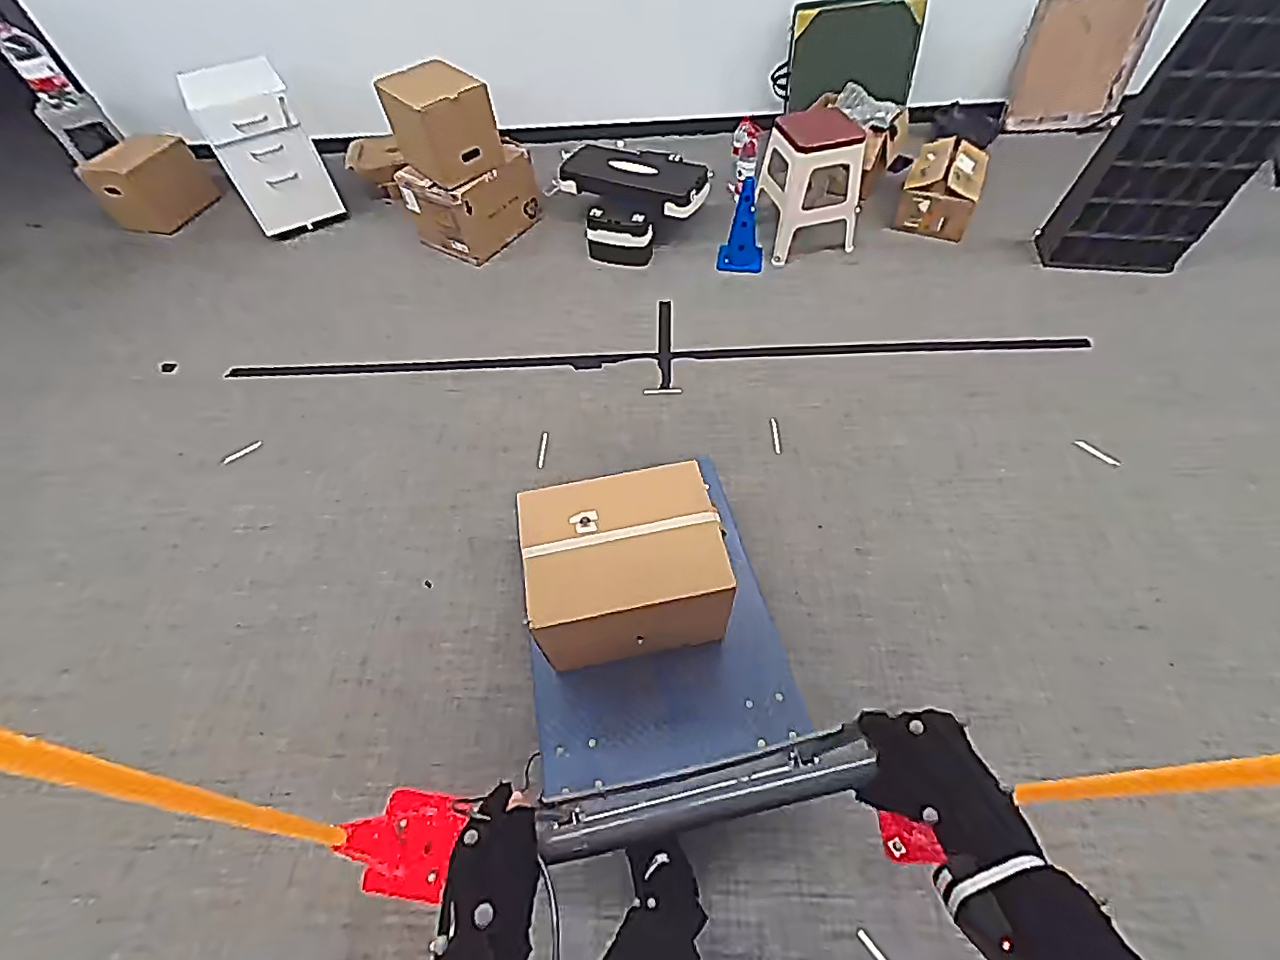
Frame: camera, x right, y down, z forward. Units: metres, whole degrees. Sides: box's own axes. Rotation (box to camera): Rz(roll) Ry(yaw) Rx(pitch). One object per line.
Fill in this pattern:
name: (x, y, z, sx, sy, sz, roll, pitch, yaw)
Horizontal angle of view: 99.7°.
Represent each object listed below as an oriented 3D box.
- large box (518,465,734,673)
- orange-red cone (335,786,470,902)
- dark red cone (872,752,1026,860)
large box: (-0.032, 0.210, 1.229, 0.408, 0.320, 0.320, -11, 56, -4)
orange-red cone: (-0.507, 0.711, 1.080, 0.198, 0.360, 0.199, 6, 54, 7)
dark red cone: (0.623, 0.617, 1.054, 0.201, 0.394, 0.202, 1, 55, 2)
